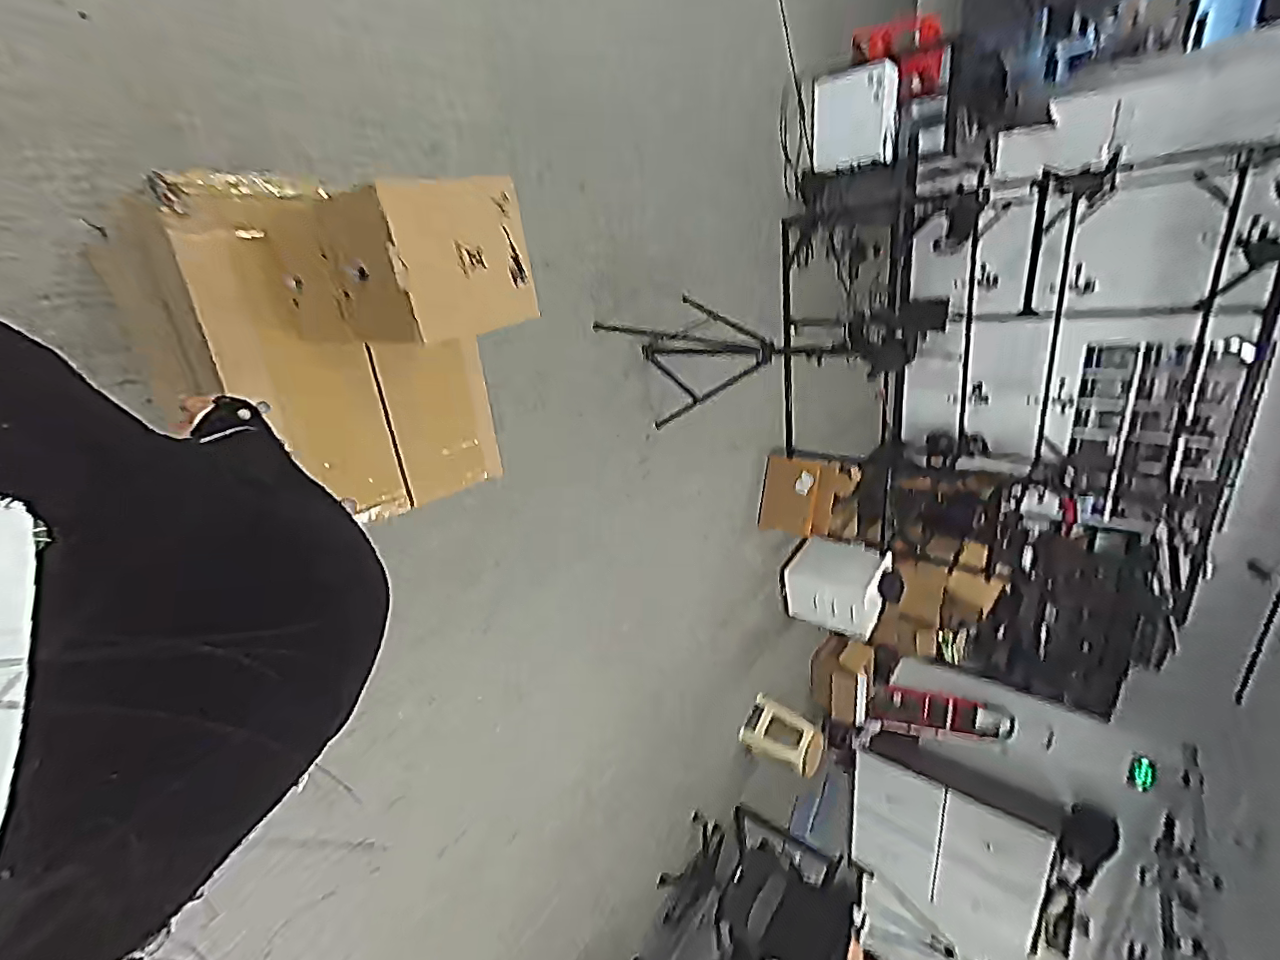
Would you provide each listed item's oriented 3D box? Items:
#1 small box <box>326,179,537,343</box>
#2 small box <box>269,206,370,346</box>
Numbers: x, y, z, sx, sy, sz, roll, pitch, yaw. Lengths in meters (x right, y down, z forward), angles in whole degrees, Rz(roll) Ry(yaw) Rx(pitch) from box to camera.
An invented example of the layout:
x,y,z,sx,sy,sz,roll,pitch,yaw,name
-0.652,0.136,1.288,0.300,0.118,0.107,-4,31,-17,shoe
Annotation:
x,y,z,sx,sy,sz,roll,pitch,yaw,name
-0.262,-0.268,0.675,0.179,0.176,0.168,-30,121,-42,small box
-0.388,-0.291,0.777,0.179,0.176,0.168,-29,120,-43,small box
